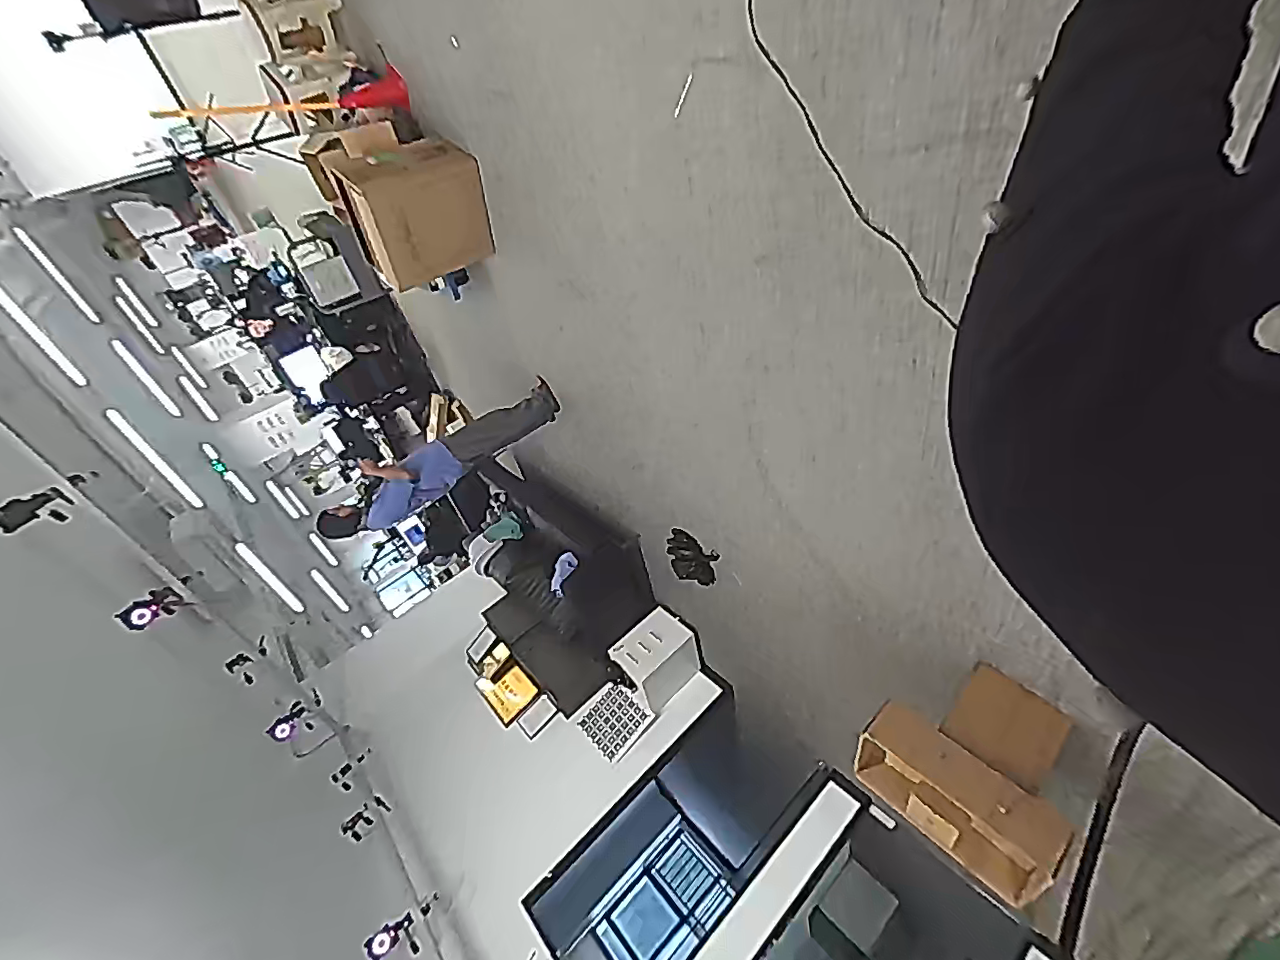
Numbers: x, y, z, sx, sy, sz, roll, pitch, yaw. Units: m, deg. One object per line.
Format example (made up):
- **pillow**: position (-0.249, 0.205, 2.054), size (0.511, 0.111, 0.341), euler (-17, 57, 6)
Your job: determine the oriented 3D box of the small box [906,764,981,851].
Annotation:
- **small box**: position (1.065, 1.143, 1.897), size (0.168, 0.176, 0.179), euler (31, 148, 43)
